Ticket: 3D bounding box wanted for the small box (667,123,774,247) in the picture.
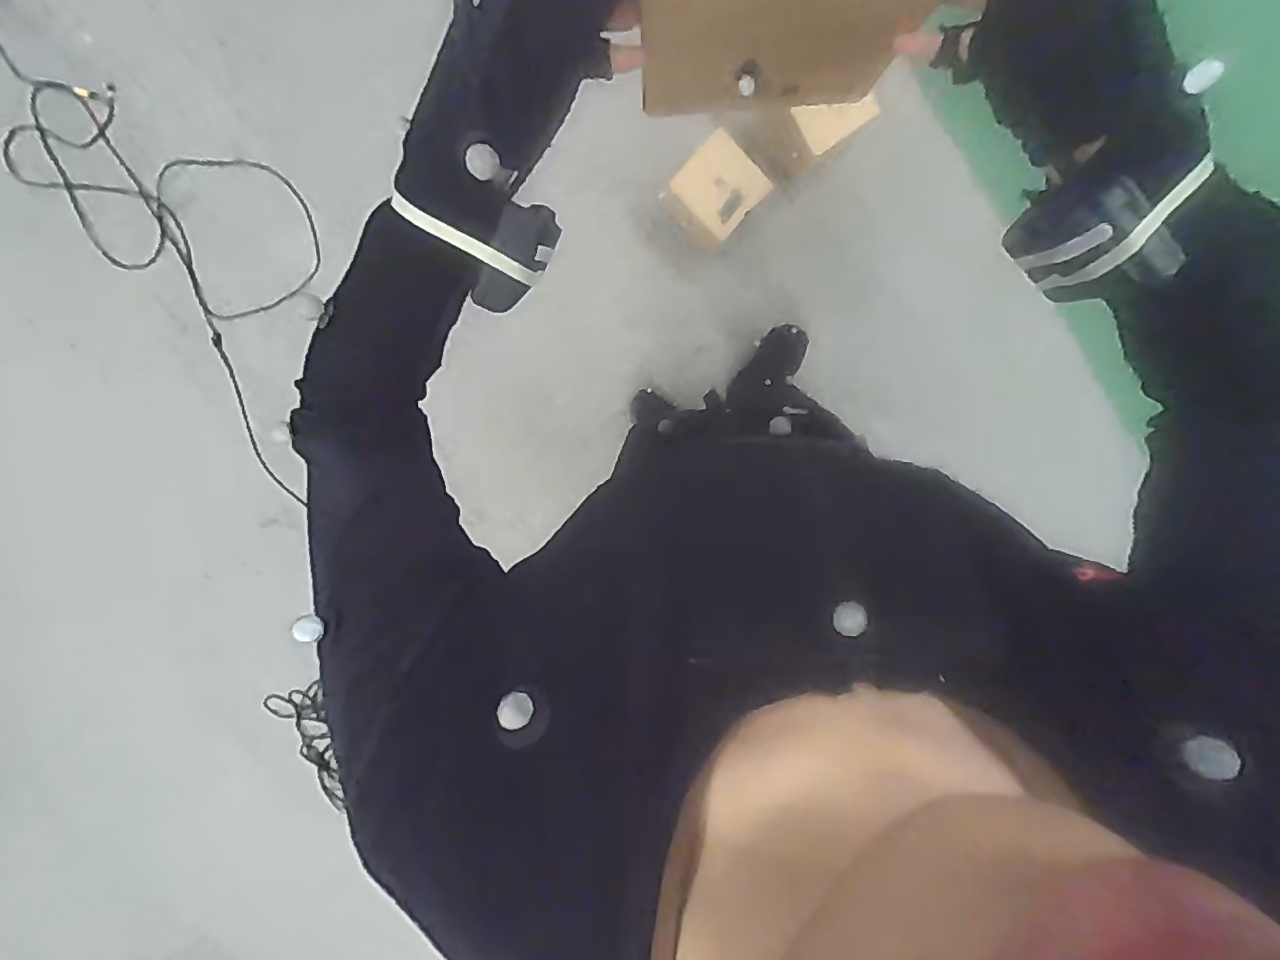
[{"bbox_3d":[0.180,-0.669,1.258,0.179,0.176,0.168,43,98,-7],"label":"small box"}]
